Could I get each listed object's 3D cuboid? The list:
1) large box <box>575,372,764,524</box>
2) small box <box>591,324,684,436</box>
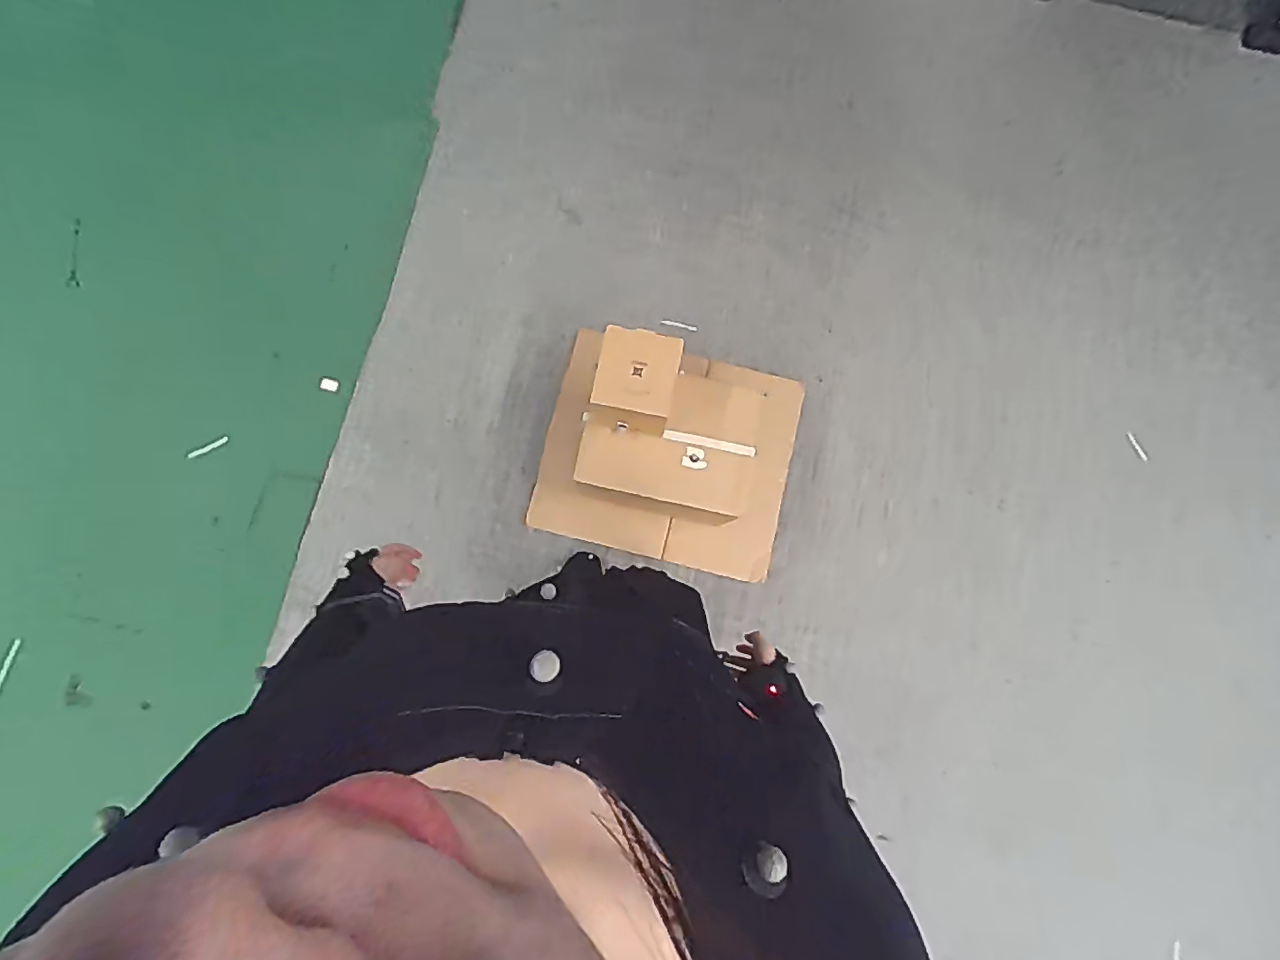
[{"bbox_3d":[0.062,-0.084,1.403,0.408,0.320,0.320,13,82,-1],"label":"large box"},{"bbox_3d":[-0.008,-0.210,1.174,0.168,0.176,0.179,11,81,0],"label":"small box"}]
